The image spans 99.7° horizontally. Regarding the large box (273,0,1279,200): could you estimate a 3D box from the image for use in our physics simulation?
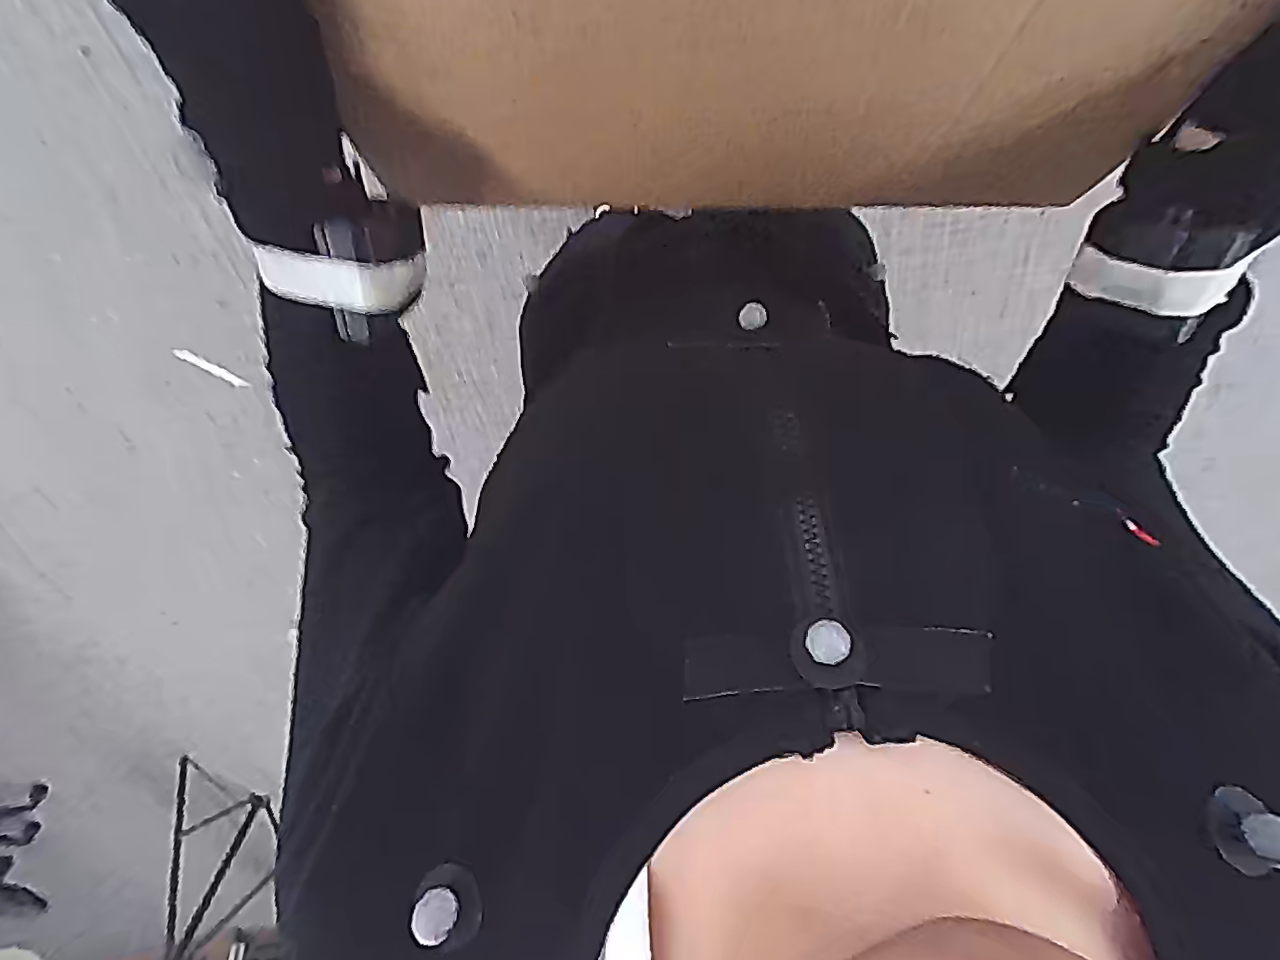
[{"bbox_3d":[0.051,-0.344,0.203,0.408,0.320,0.320,1,83,2],"label":"large box"}]
